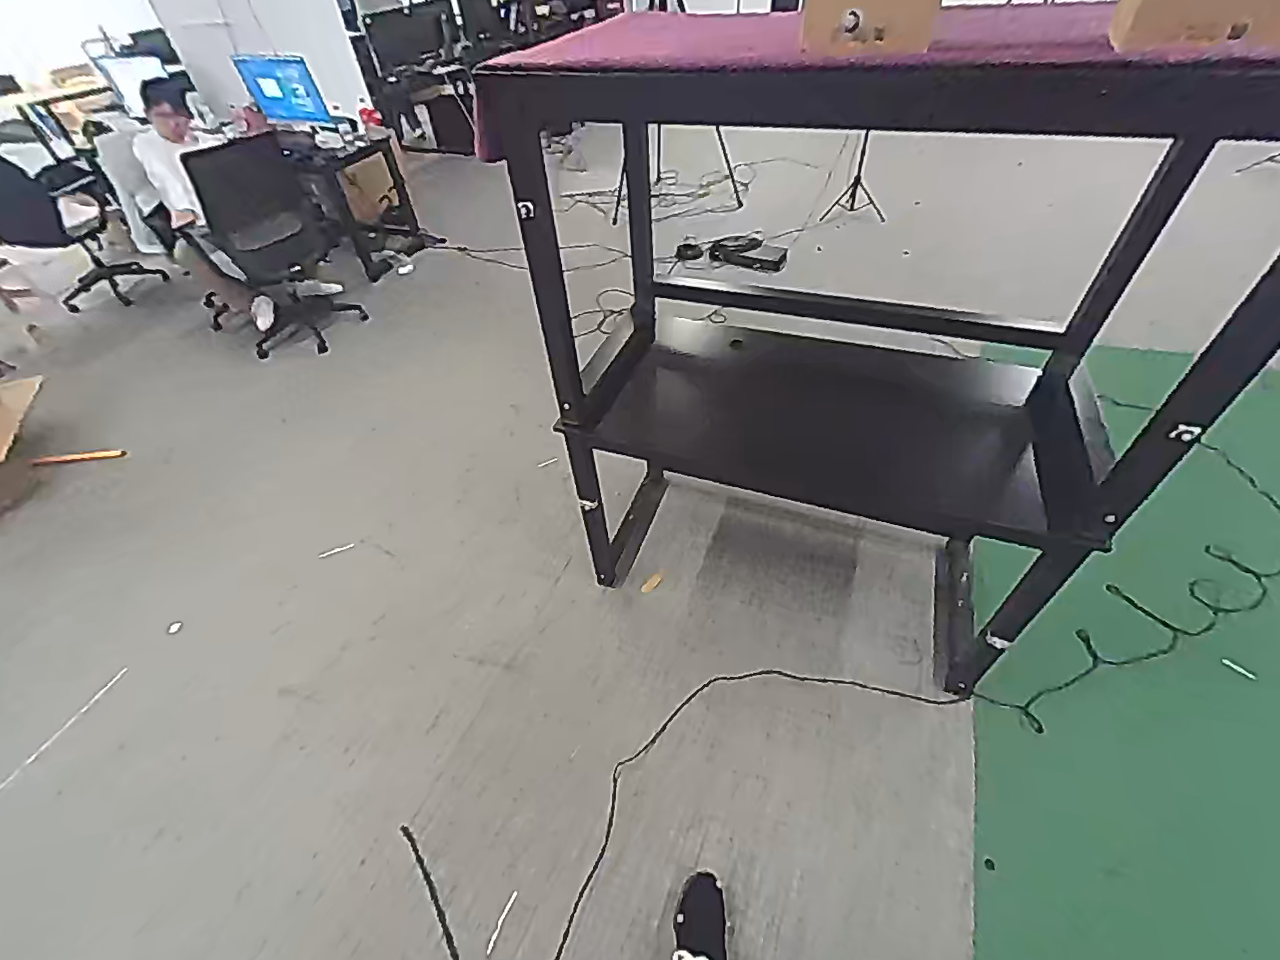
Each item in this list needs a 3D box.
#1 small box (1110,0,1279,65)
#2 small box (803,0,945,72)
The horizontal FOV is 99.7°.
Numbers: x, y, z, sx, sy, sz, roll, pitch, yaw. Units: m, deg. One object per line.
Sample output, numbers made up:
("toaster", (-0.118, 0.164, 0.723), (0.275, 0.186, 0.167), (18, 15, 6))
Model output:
("small box", (0.683, -0.597, 0.621), (0.168, 0.176, 0.179), (15, 48, 21))
("small box", (0.329, -0.676, 0.736), (0.168, 0.176, 0.179), (15, 48, 21))
